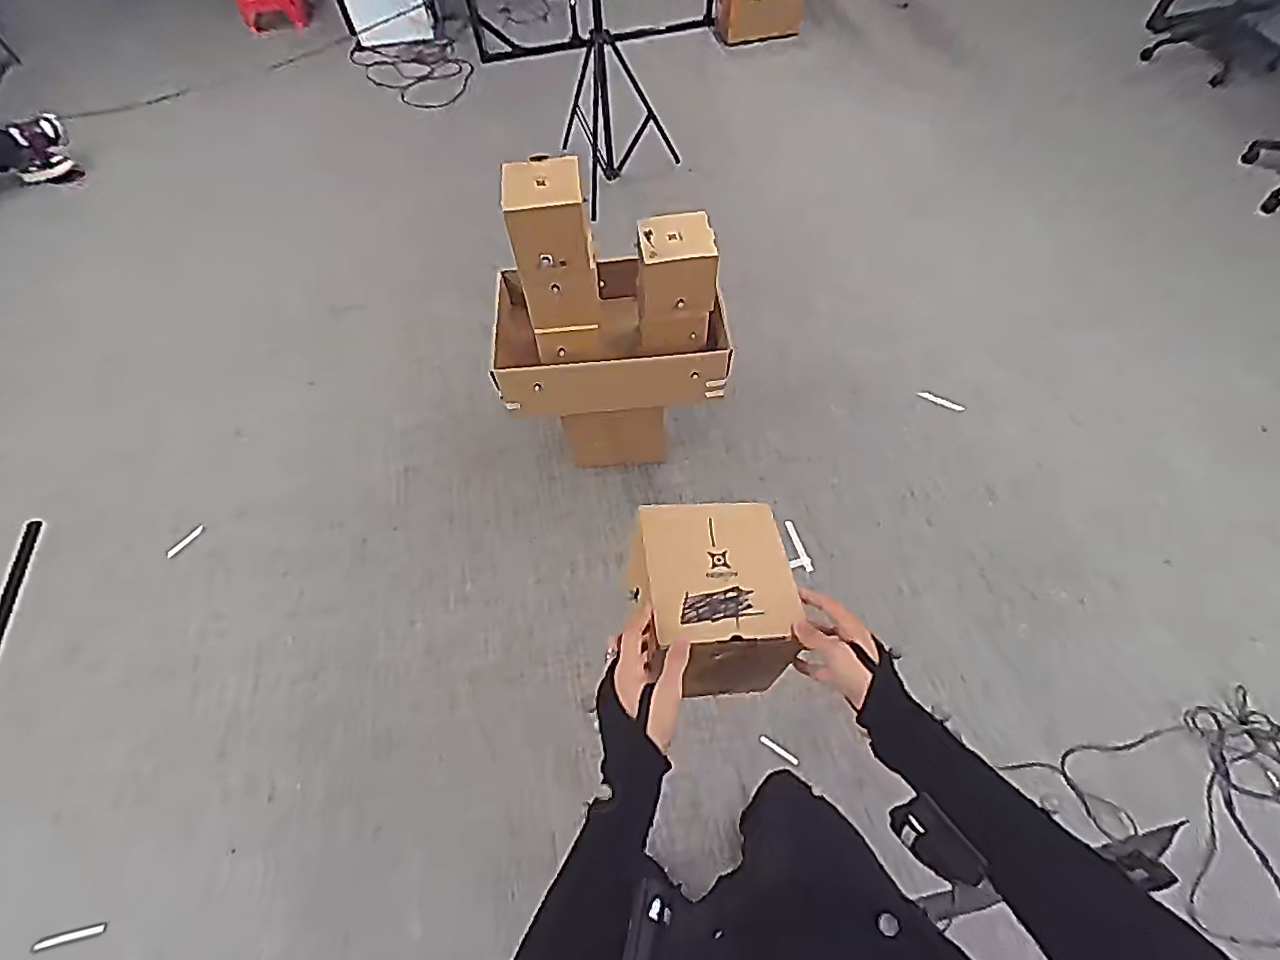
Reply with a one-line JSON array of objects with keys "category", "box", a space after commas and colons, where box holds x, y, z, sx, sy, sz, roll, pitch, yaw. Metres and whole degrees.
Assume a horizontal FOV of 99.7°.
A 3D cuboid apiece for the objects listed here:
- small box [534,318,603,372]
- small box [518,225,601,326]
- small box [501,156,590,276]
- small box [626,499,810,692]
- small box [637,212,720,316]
[{"category": "small box", "box": [-0.192, -0.411, 1.476, 0.168, 0.176, 0.179, -6, 60, -2]}, {"category": "small box", "box": [-0.193, -0.500, 1.337, 0.179, 0.176, 0.168, -4, 60, -1]}, {"category": "small box", "box": [-0.204, -0.581, 1.195, 0.168, 0.176, 0.179, -7, 59, -1]}, {"category": "small box", "box": [0.077, 0.142, 0.647, 0.168, 0.176, 0.179, -1, 50, -9]}, {"category": "small box", "box": [0.088, -0.529, 1.336, 0.179, 0.176, 0.168, -7, 60, -3]}]
